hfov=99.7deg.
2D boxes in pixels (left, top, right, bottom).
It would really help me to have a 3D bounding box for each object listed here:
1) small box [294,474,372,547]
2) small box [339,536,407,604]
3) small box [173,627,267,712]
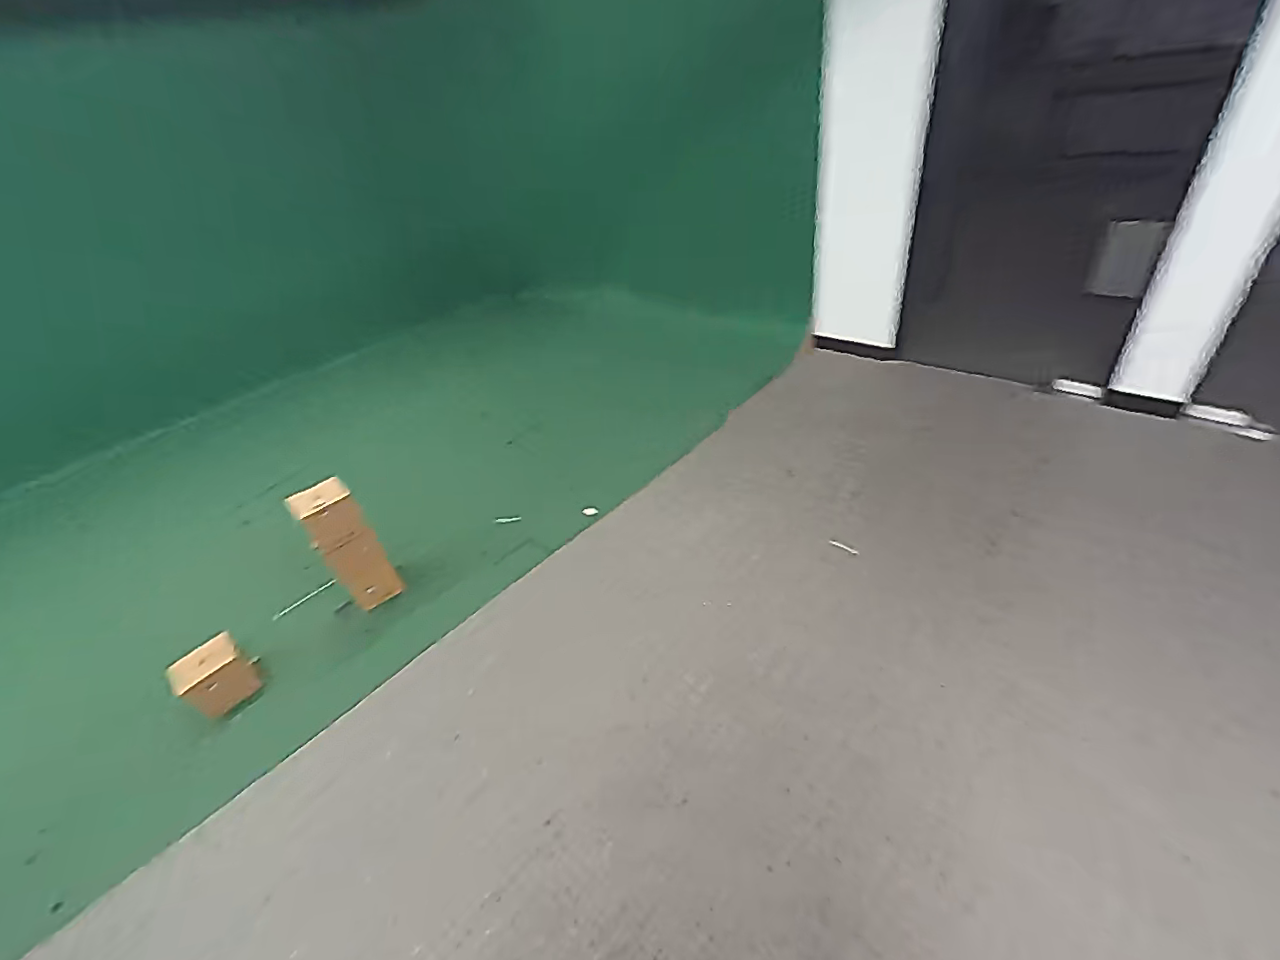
[{"bbox_3d":[-1.083,0.109,1.912,0.168,0.176,0.179,-33,42,-29],"label":"small box"},{"bbox_3d":[-1.042,0.360,2.120,0.168,0.176,0.179,-30,42,-25],"label":"small box"},{"bbox_3d":[-1.419,0.644,1.831,0.168,0.176,0.179,26,50,37],"label":"small box"}]
